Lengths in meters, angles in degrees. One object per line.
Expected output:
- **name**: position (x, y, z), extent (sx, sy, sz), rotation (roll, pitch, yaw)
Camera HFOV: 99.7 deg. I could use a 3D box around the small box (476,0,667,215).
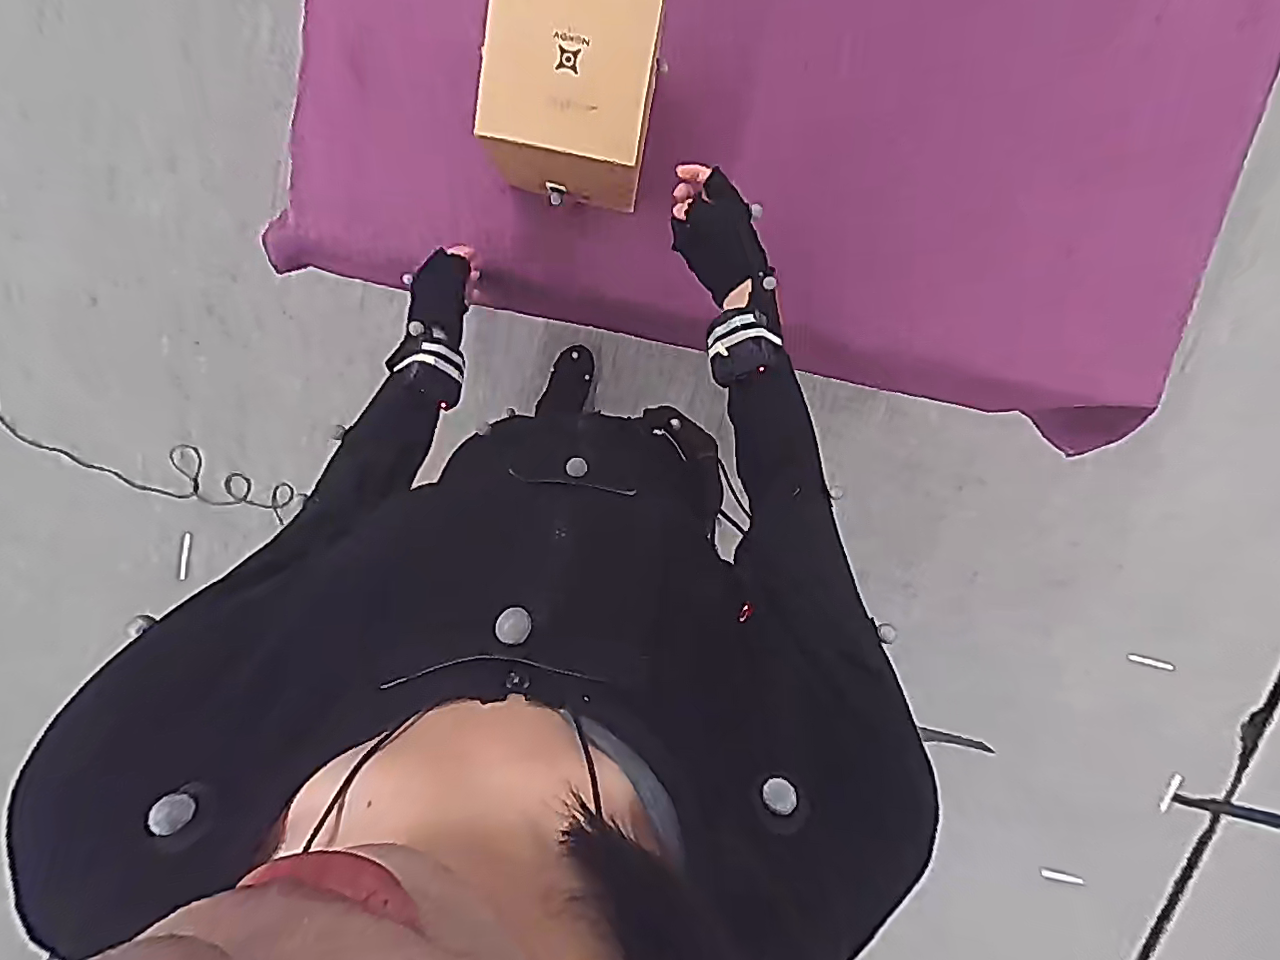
- **small box**: position (-0.071, -0.427, 0.608), extent (0.168, 0.176, 0.179), rotation (10, 100, -3)
